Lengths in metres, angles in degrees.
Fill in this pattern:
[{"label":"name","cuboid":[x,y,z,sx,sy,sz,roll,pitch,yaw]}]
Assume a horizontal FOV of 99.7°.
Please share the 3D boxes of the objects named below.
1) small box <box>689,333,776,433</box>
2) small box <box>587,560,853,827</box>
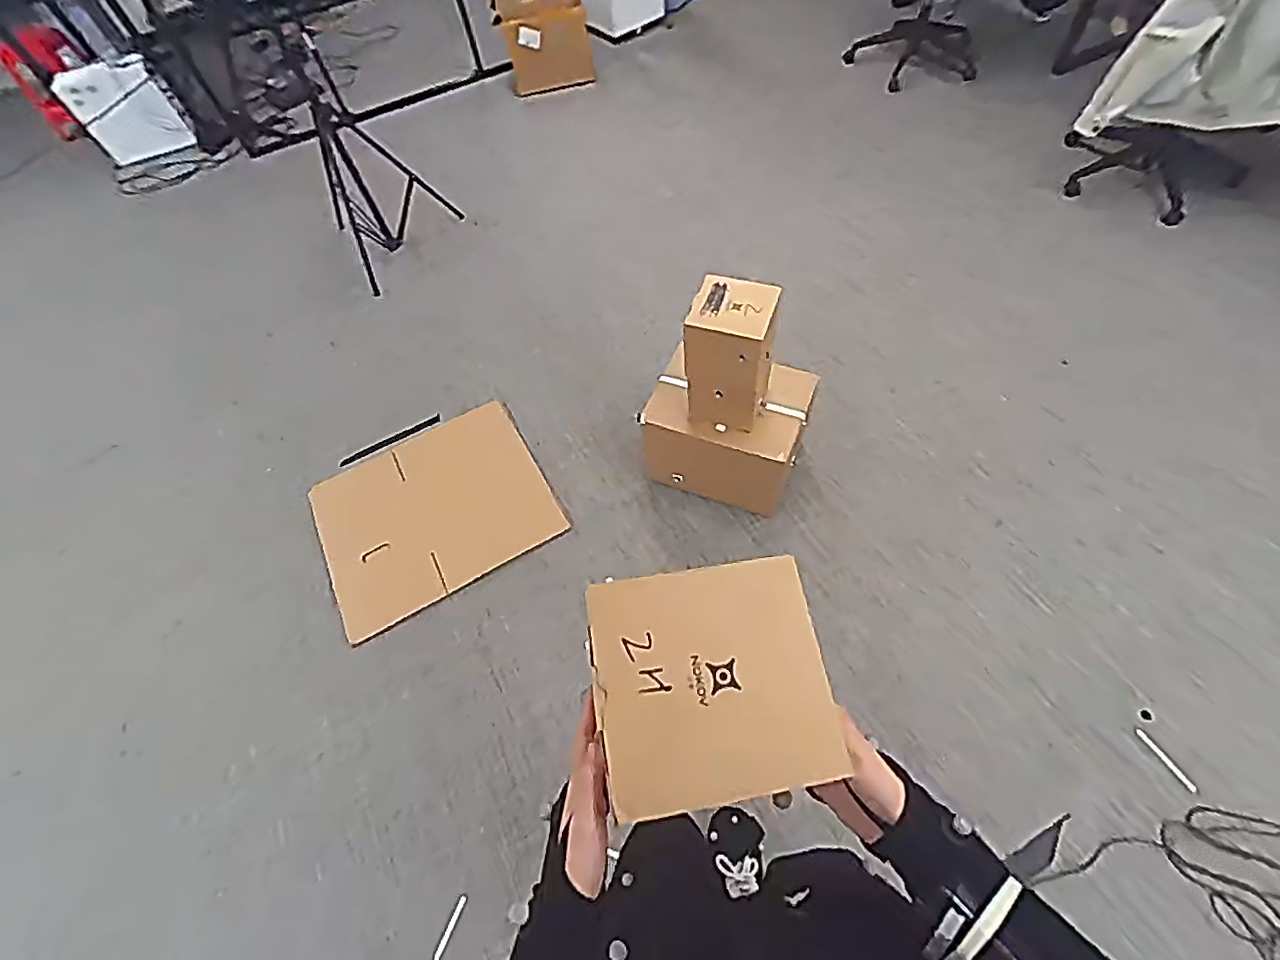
[{"label":"small box","cuboid":[0.233,-0.243,1.378,0.179,0.176,0.168,16,63,15]},{"label":"small box","cuboid":[0.050,0.178,0.475,0.179,0.176,0.168,-8,68,-7]}]
